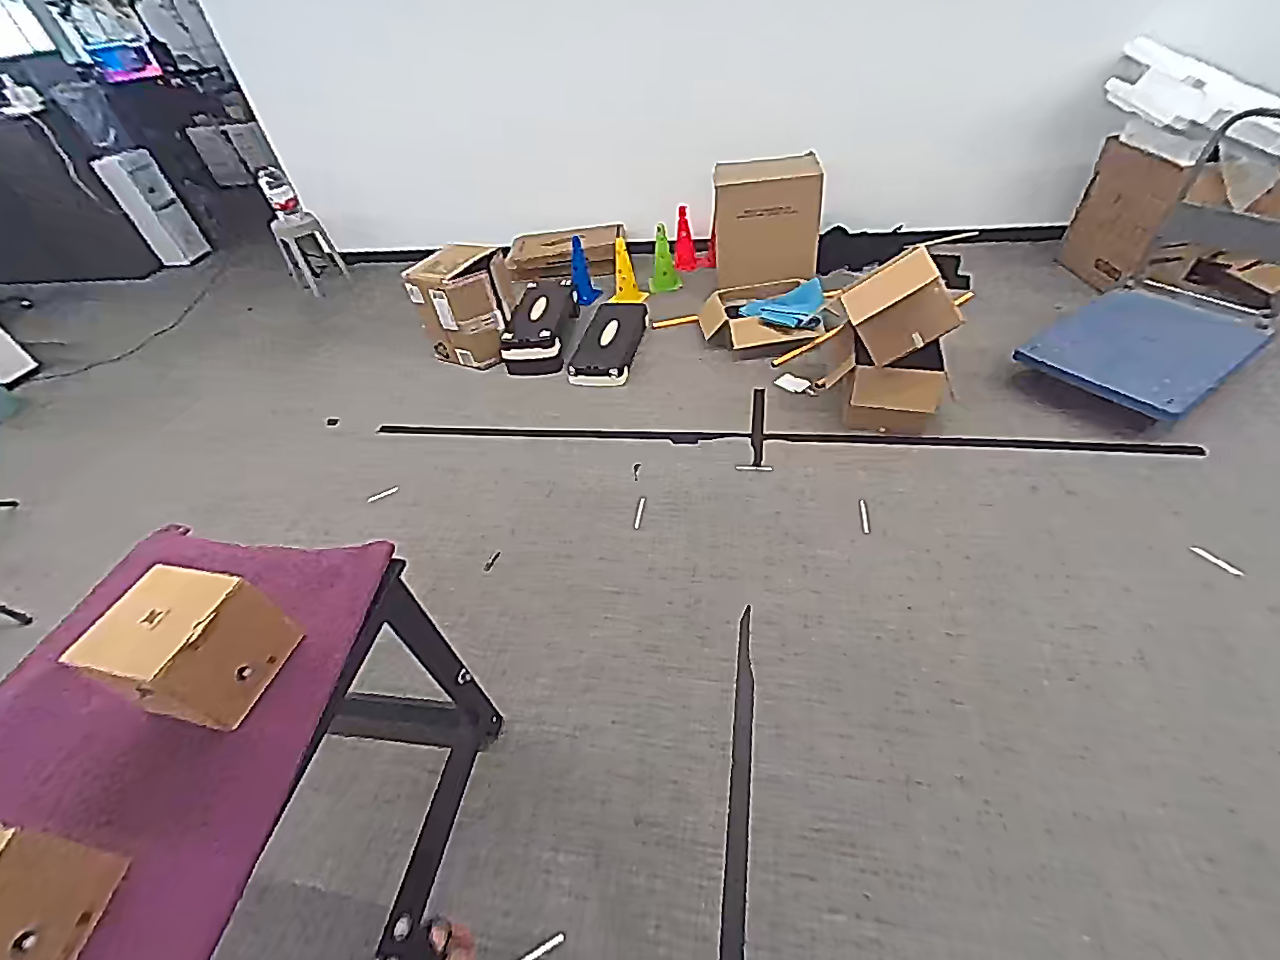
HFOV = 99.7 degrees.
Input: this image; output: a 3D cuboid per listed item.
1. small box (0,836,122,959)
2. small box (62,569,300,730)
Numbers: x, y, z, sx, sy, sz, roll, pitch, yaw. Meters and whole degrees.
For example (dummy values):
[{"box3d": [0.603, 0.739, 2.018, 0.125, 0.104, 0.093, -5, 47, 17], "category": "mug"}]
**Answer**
[{"box3d": [-0.745, 0.501, 0.587, 0.179, 0.176, 0.168, -5, 44, 4], "category": "small box"}, {"box3d": [-0.678, 0.259, 0.823, 0.179, 0.176, 0.168, 4, 46, 14], "category": "small box"}]
